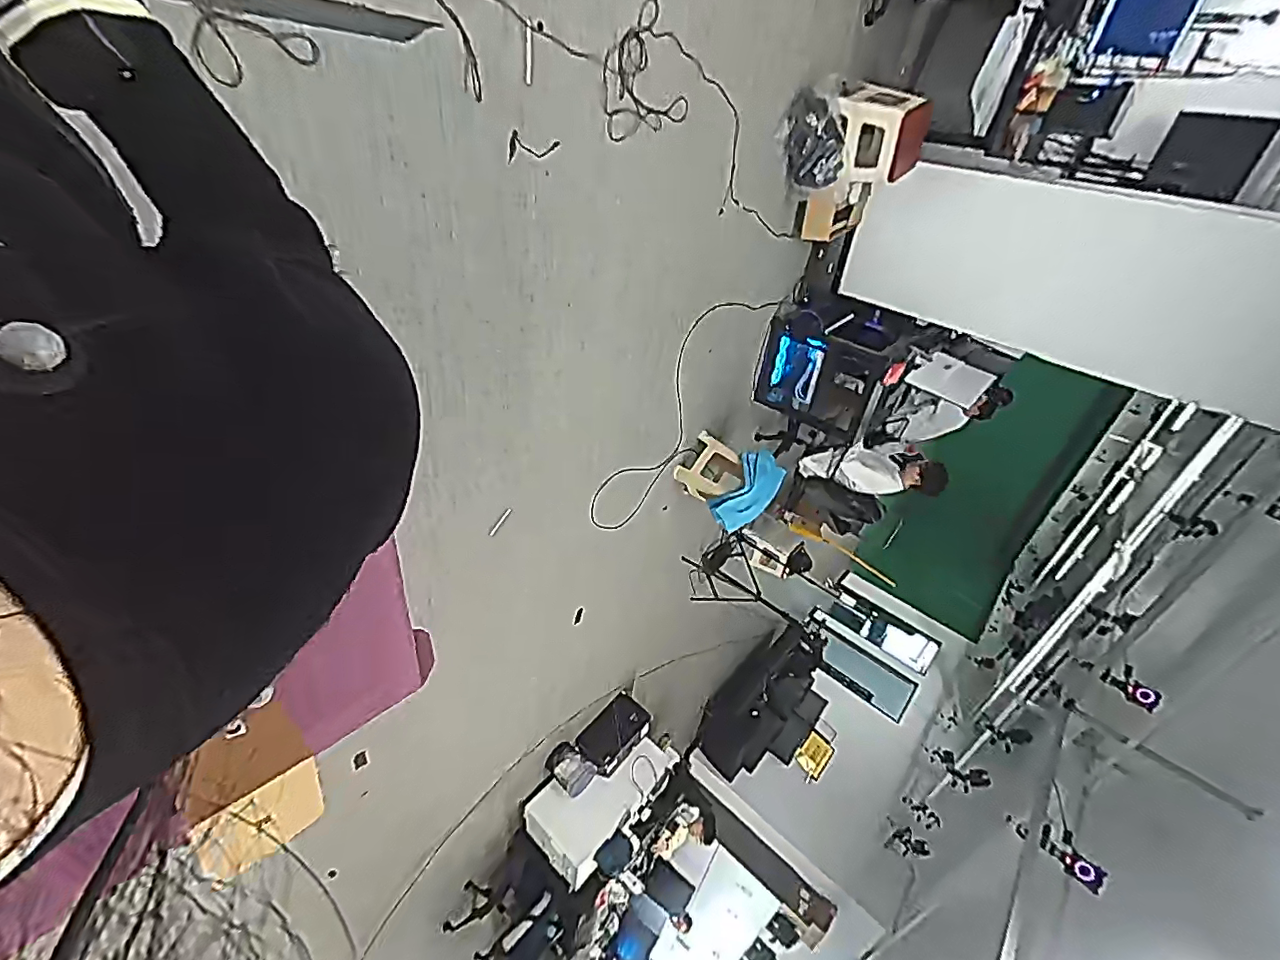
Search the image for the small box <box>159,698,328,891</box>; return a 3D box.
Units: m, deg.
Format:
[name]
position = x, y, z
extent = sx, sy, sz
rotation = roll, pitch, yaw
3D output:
[small box]
position = -0.641, 0.501, 0.883
extent = 0.168, 0.176, 0.179
rotation = -25, 134, -46
